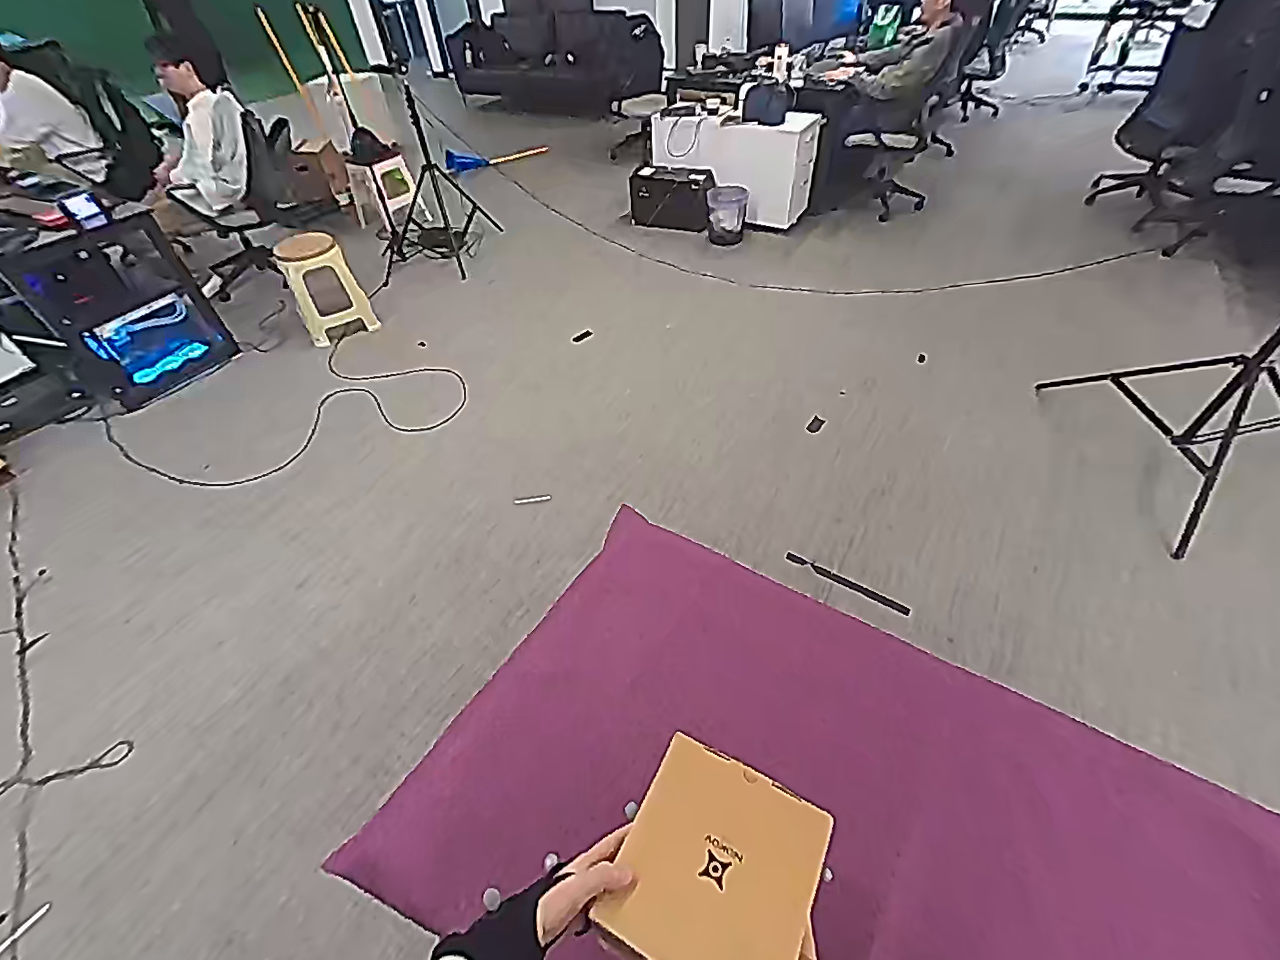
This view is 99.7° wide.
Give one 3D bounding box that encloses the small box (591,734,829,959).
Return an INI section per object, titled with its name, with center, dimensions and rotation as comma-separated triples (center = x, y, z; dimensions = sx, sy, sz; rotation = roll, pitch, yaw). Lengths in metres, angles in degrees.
[small box]
center = 0.070, 0.404, 0.542
dimensions = 0.168, 0.176, 0.179
rotation = 20, 46, 21
